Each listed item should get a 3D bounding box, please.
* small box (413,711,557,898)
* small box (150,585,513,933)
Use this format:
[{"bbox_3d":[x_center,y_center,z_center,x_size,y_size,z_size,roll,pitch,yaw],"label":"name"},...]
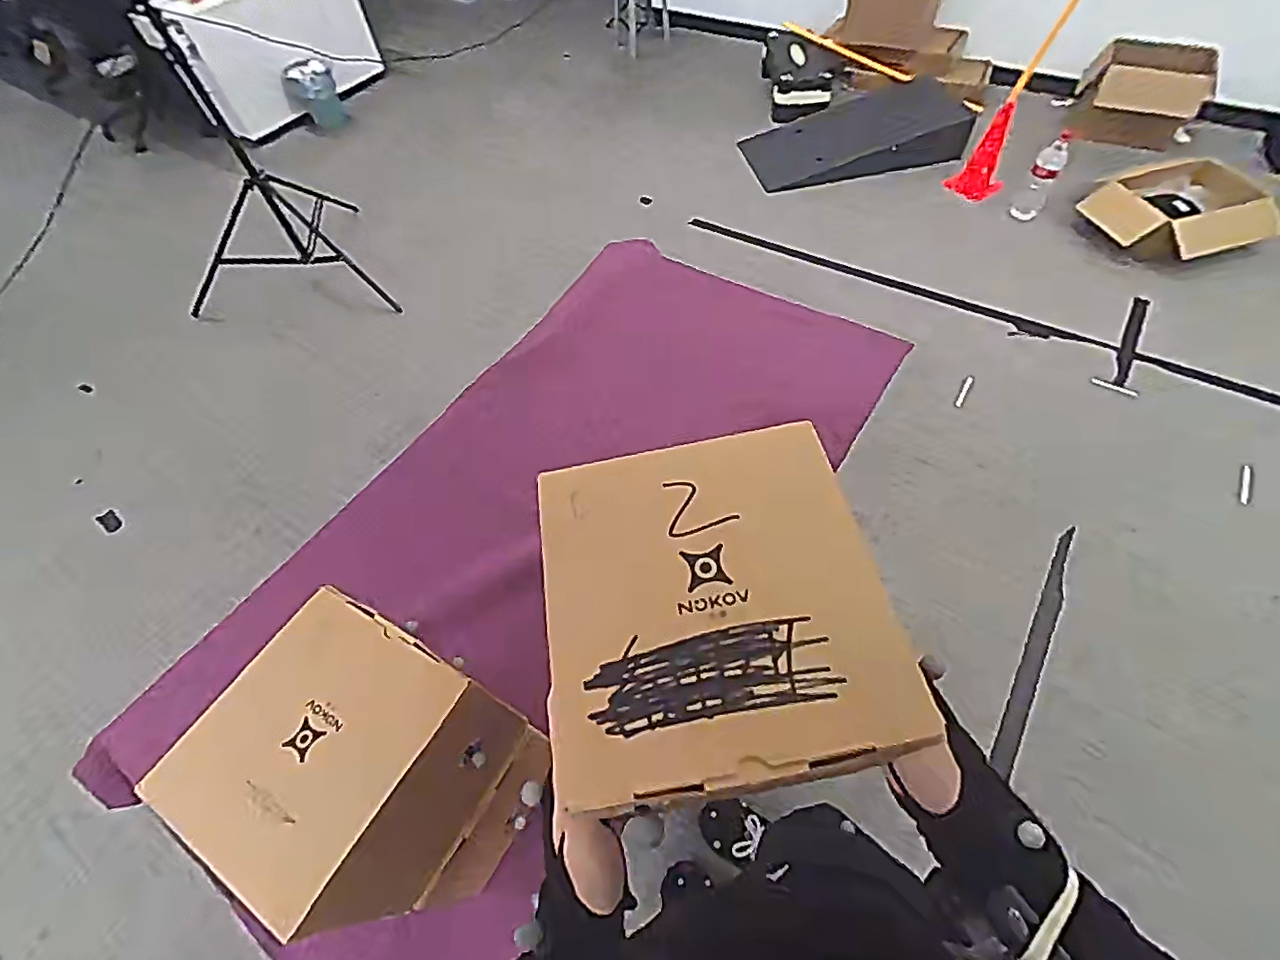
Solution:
[{"bbox_3d":[-0.217,0.314,0.594,0.179,0.176,0.168,25,63,19],"label":"small box"},{"bbox_3d":[-0.229,0.225,0.458,0.168,0.176,0.179,22,62,20],"label":"small box"}]
